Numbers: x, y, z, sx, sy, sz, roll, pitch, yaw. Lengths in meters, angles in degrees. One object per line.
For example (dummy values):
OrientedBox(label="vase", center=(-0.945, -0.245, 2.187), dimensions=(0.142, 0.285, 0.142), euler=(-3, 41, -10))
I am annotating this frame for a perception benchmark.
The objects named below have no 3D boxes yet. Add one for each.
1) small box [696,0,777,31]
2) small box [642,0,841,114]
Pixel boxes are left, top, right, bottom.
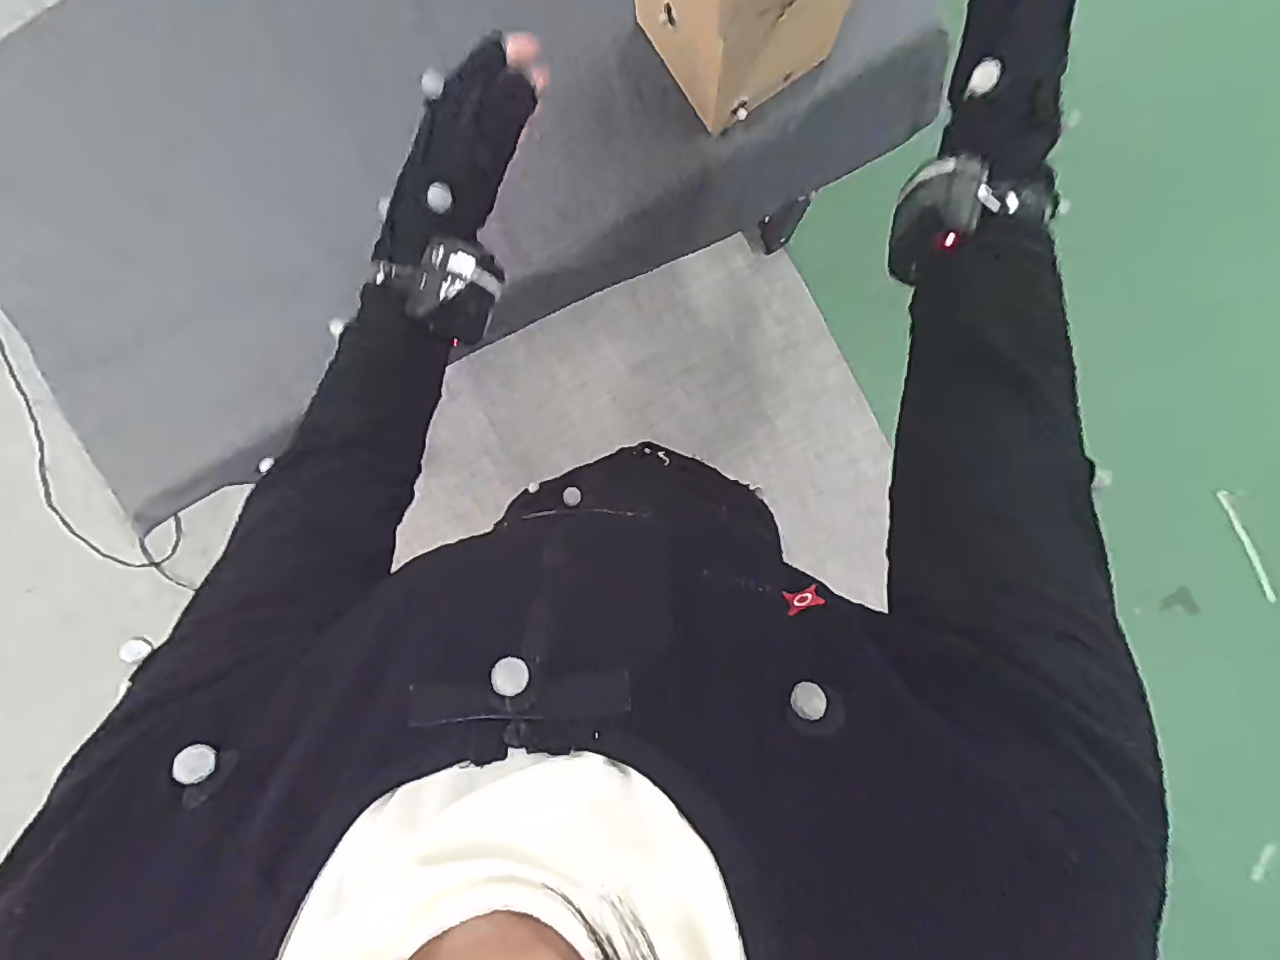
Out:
OrientedBox(label="small box", center=(0.103, -0.524, 0.421), dimensions=(0.179, 0.176, 0.168), euler=(-31, 90, 6))
OrientedBox(label="small box", center=(0.109, -0.542, 0.581), dimensions=(0.168, 0.176, 0.179), euler=(-33, 90, 5))
